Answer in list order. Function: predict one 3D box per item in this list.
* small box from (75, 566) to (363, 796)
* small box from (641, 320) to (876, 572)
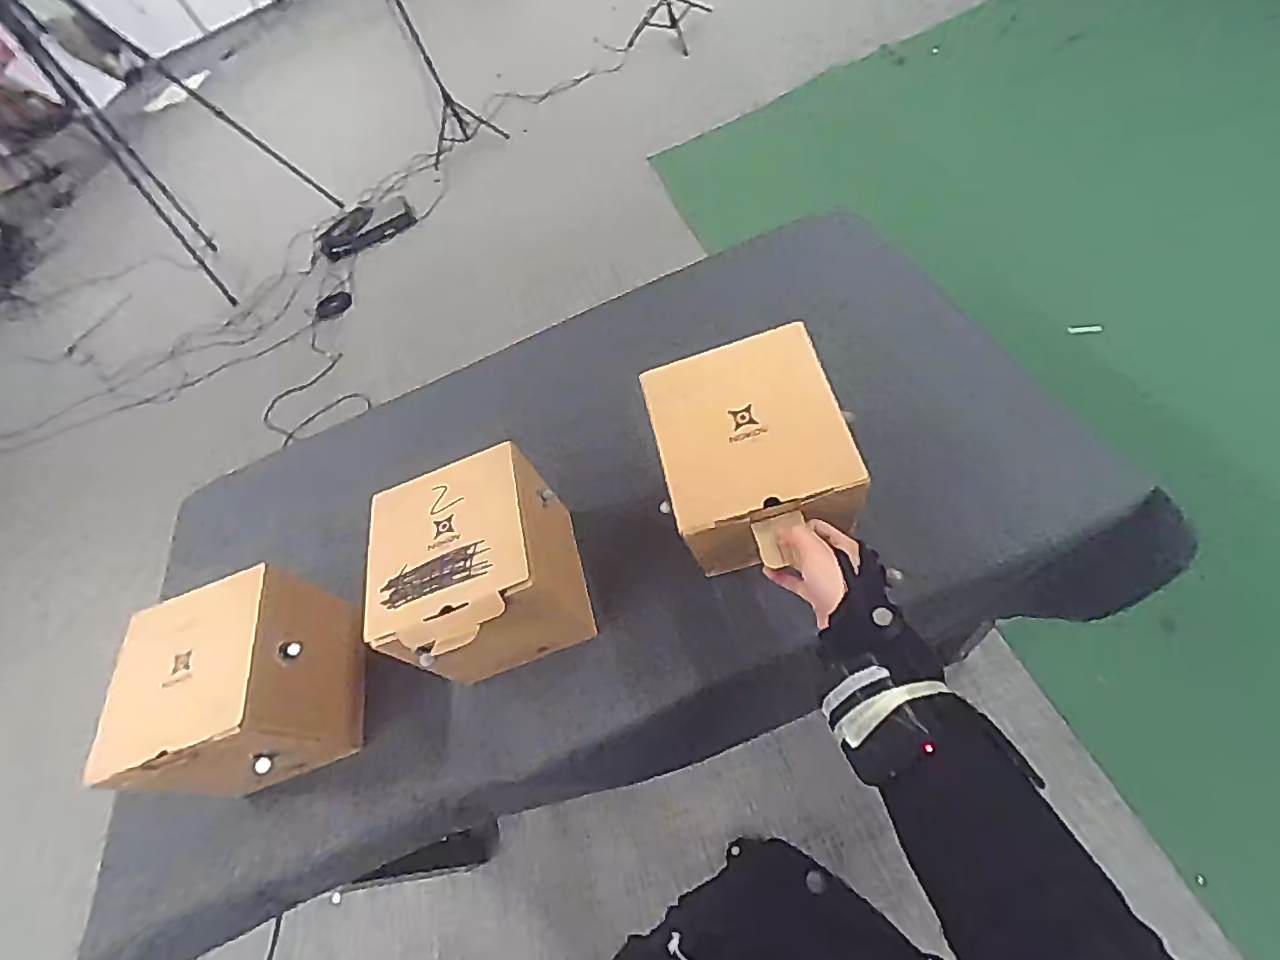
[{"bbox_3d":[-0.430,0.226,0.589,0.168,0.176,0.179,-21,54,2],"label":"small box"},{"bbox_3d":[0.113,-0.023,0.552,0.168,0.176,0.179,-18,66,6],"label":"small box"}]
